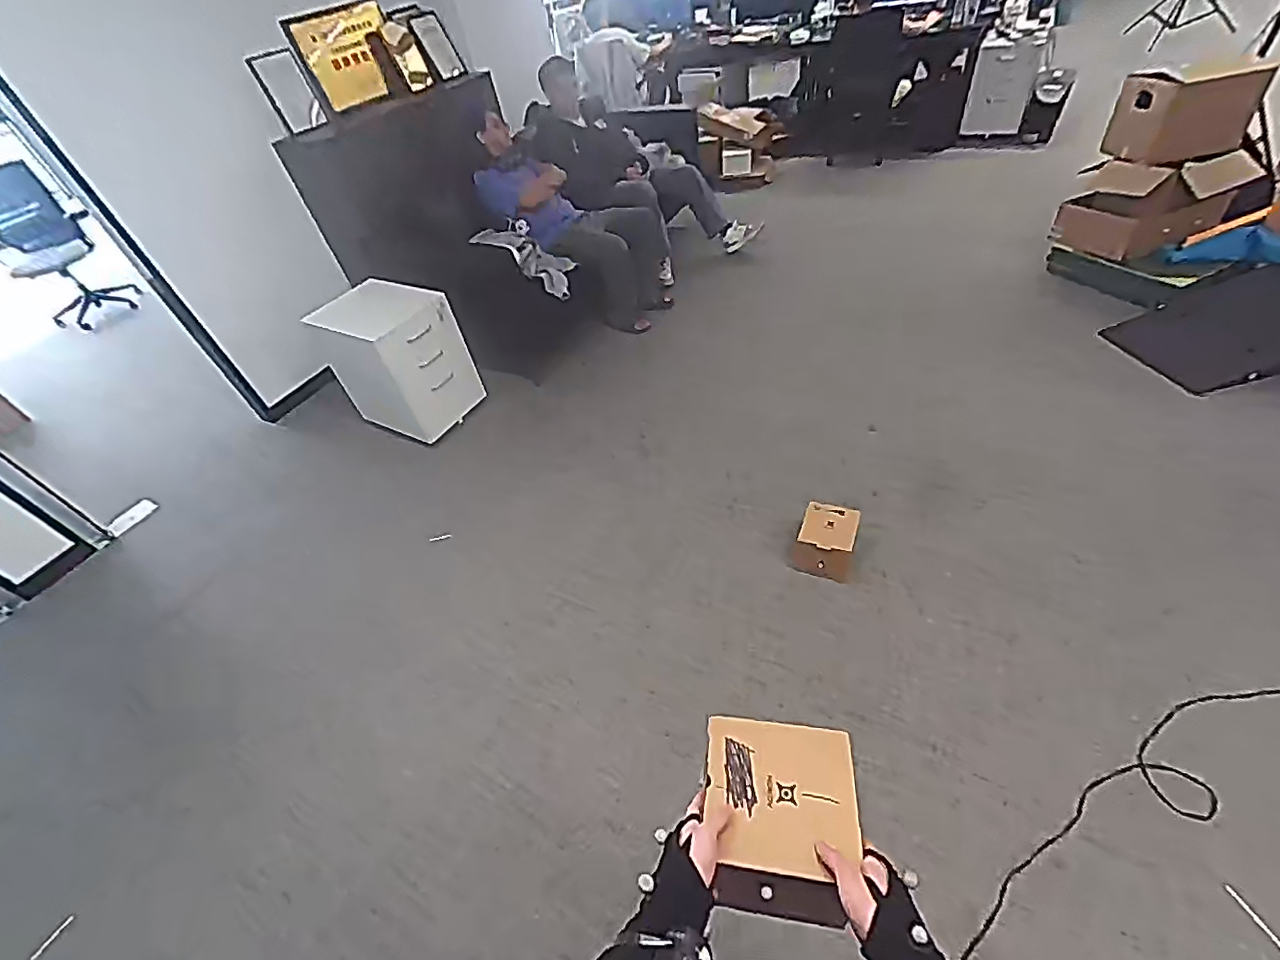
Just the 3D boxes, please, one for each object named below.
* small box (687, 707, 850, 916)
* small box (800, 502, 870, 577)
[{"bbox_3d":[0.164,0.419,0.686,0.179,0.176,0.168,5,42,15],"label":"small box"},{"bbox_3d":[0.639,0.200,1.786,0.179,0.176,0.168,-11,42,4],"label":"small box"}]
